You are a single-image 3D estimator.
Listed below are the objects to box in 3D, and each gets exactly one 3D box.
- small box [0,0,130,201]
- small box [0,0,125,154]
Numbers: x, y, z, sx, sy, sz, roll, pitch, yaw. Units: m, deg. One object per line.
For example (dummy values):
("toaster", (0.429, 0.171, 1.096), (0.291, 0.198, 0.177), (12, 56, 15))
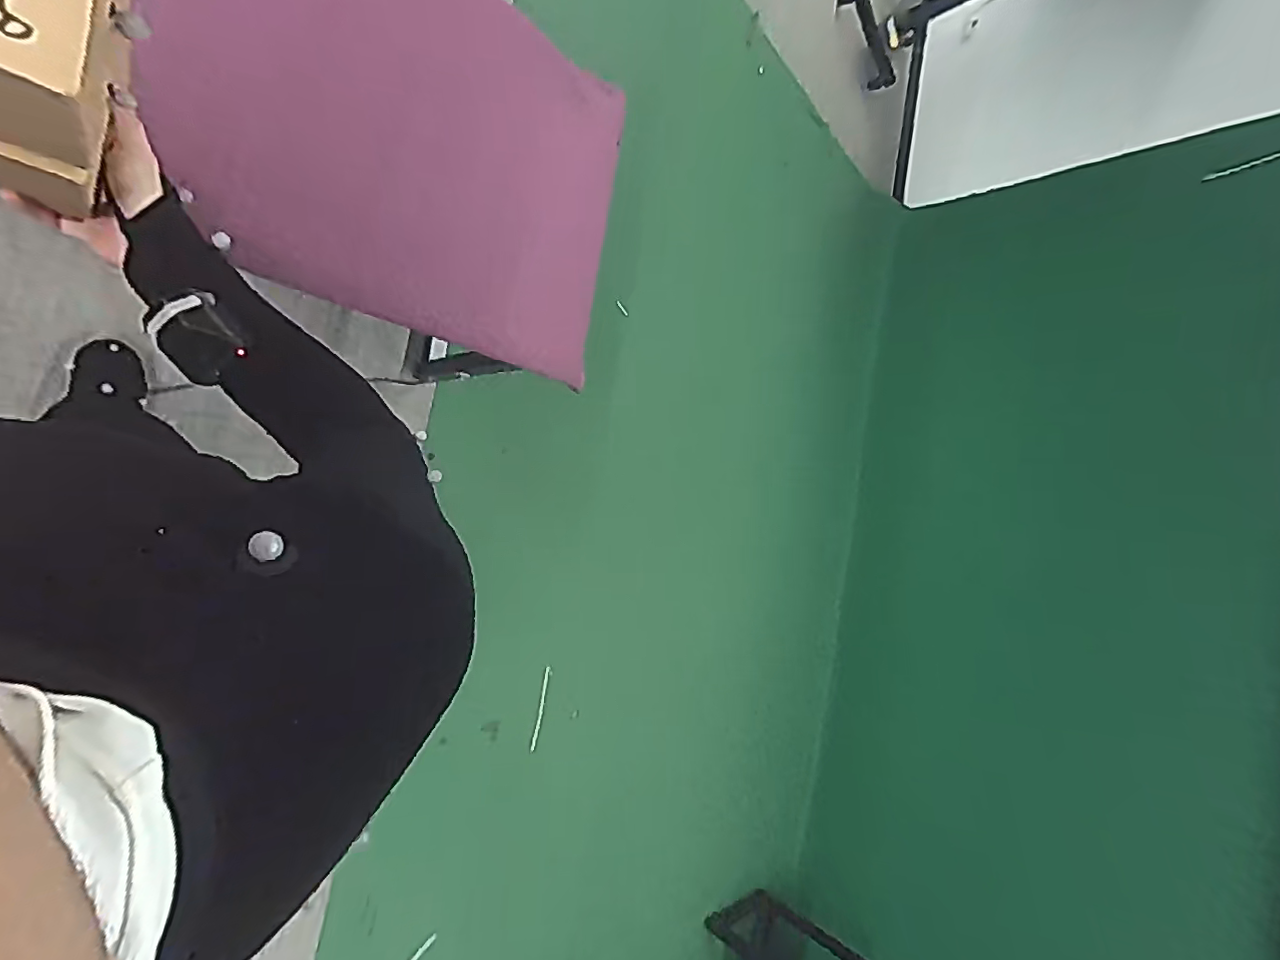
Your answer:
("small box", (-0.463, -0.314, 0.358), (0.168, 0.176, 0.179), (11, 94, -45))
("small box", (-0.349, -0.289, 0.243), (0.168, 0.176, 0.179), (9, 96, -44))
